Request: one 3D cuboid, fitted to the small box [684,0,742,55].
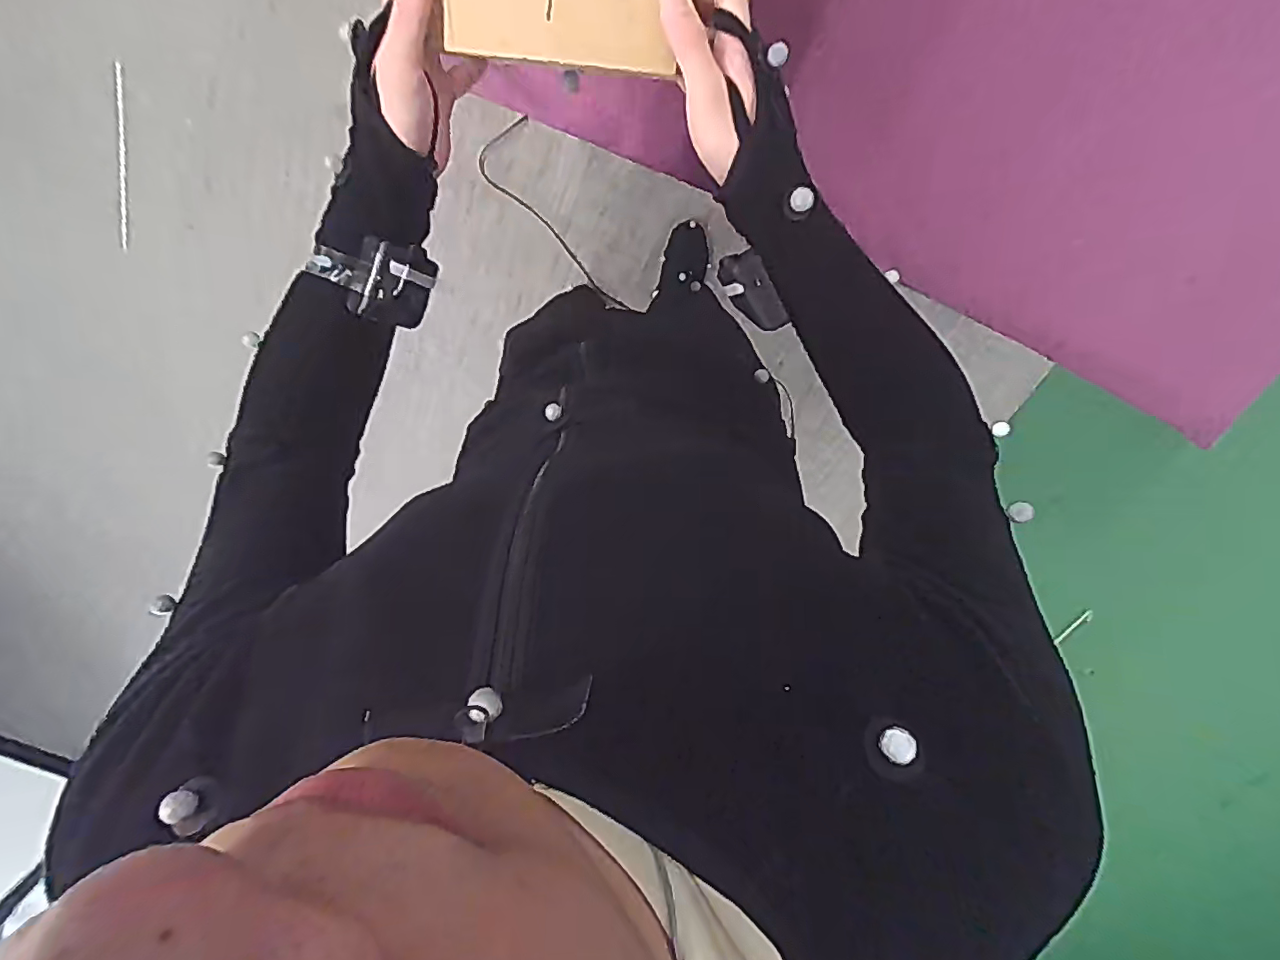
[{"bbox_3d":[0.042,-0.569,0.538,0.168,0.176,0.179,22,116,-4],"label":"small box"}]

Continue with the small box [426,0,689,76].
[{"bbox_3d":[-0.042,-0.393,0.366,0.168,0.176,0.179,6,127,-1],"label":"small box"}]
